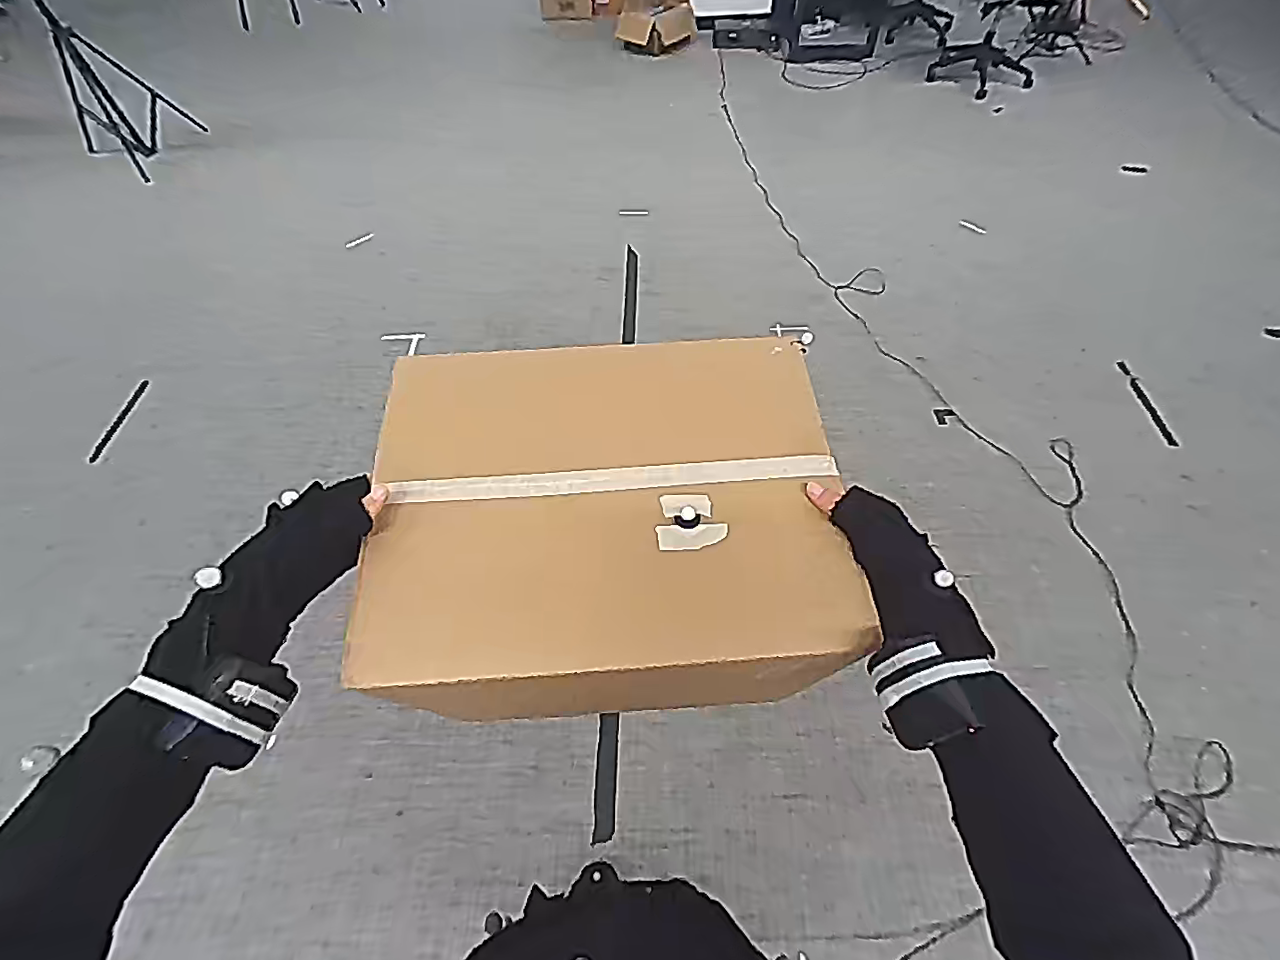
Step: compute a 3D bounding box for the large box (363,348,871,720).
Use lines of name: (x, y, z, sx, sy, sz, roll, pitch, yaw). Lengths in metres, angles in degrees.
large box: (-0.026, 0.079, 0.617, 0.408, 0.320, 0.320, -3, 62, -2)
